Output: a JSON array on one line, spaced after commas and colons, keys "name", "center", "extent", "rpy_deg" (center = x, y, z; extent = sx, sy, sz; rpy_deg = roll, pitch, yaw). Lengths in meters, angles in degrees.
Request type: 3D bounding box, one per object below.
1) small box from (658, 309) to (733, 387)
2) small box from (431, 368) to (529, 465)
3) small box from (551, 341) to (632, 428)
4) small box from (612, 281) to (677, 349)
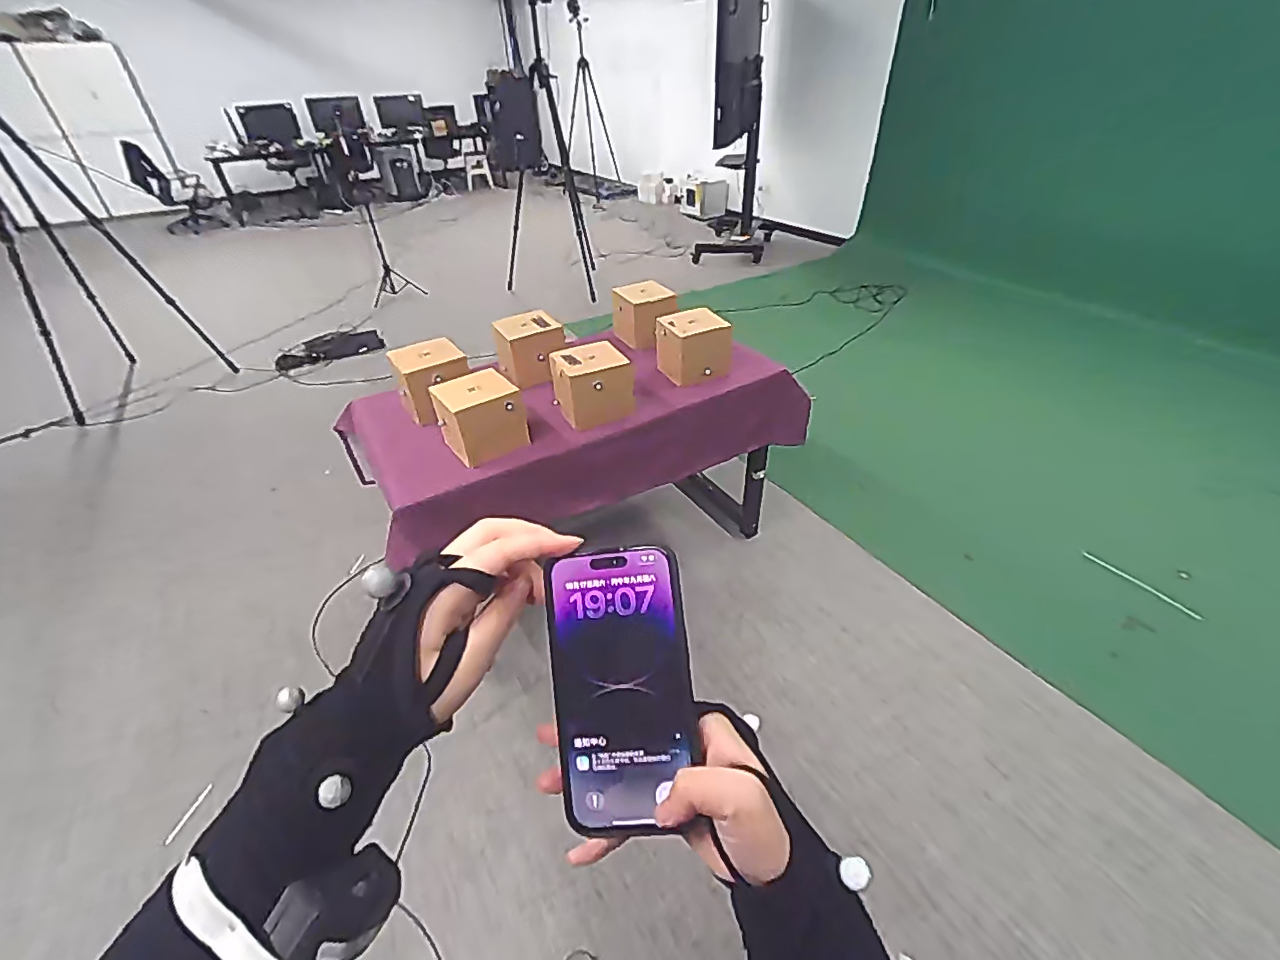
[{"name": "small box", "center": [0.165, -0.409, 1.670], "extent": [0.179, 0.176, 0.168], "rpy_deg": [-17, 40, -18]}, {"name": "small box", "center": [-0.405, -0.162, 1.387], "extent": [0.179, 0.176, 0.168], "rpy_deg": [-26, 43, -29]}, {"name": "small box", "center": [-0.131, -0.263, 1.501], "extent": [0.179, 0.176, 0.168], "rpy_deg": [-17, 41, -20]}, {"name": "small box", "center": [0.014, -0.576, 1.889], "extent": [0.168, 0.176, 0.179], "rpy_deg": [-20, 42, -20]}]
